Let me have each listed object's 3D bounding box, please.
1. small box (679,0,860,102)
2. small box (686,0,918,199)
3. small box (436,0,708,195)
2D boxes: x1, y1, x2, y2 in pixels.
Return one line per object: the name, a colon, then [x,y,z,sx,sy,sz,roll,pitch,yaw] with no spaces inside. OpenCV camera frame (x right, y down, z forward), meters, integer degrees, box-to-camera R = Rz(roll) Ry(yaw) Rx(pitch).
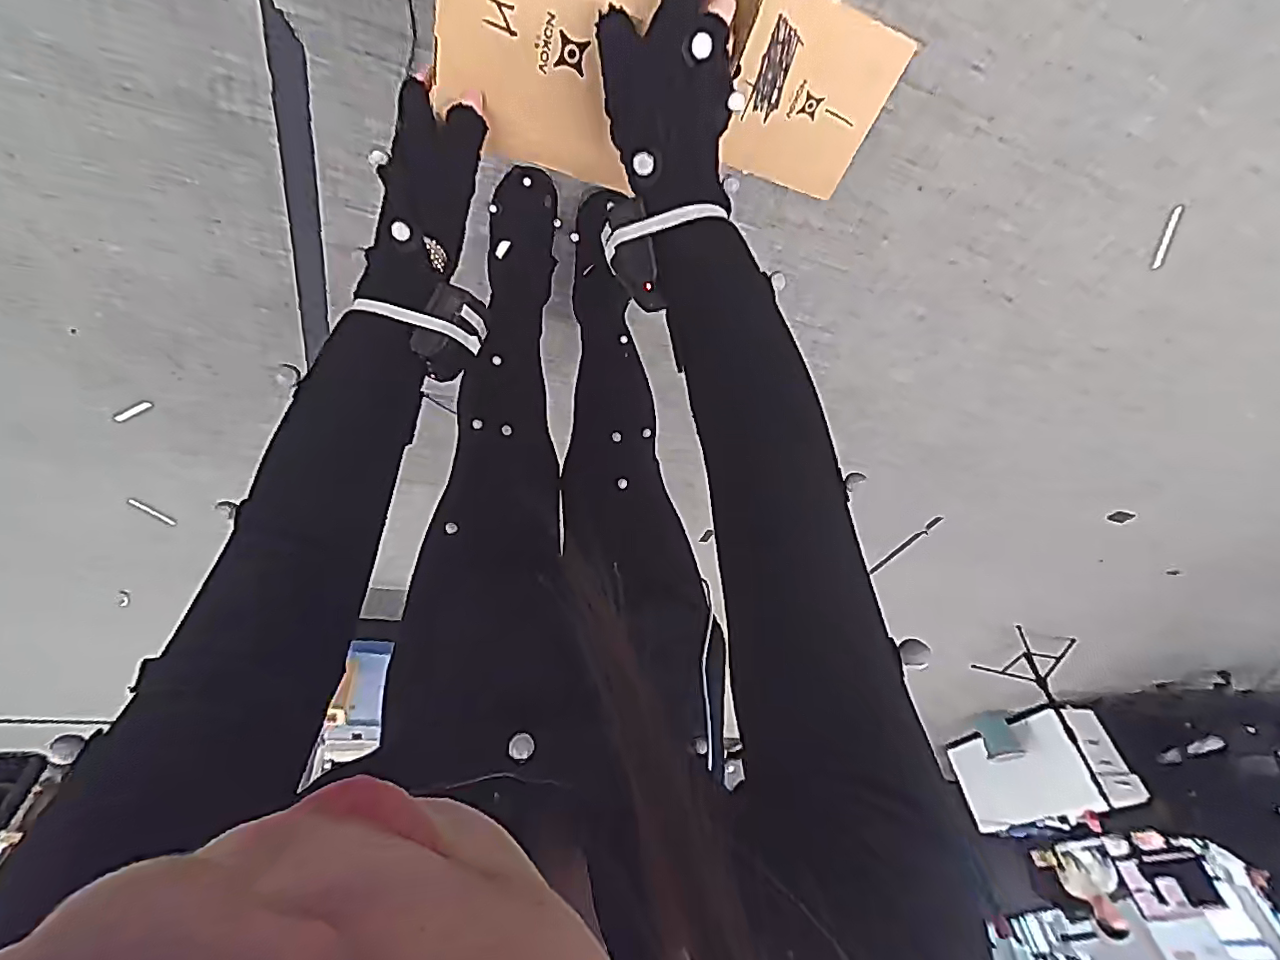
small box: [0.155,-0.594,0.734,0.179,0.176,0.168,10,137,-20]
small box: [0.169,-0.467,0.629,0.179,0.176,0.168,8,138,-20]
small box: [-0.059,-0.377,0.448,0.179,0.176,0.168,10,137,-17]
